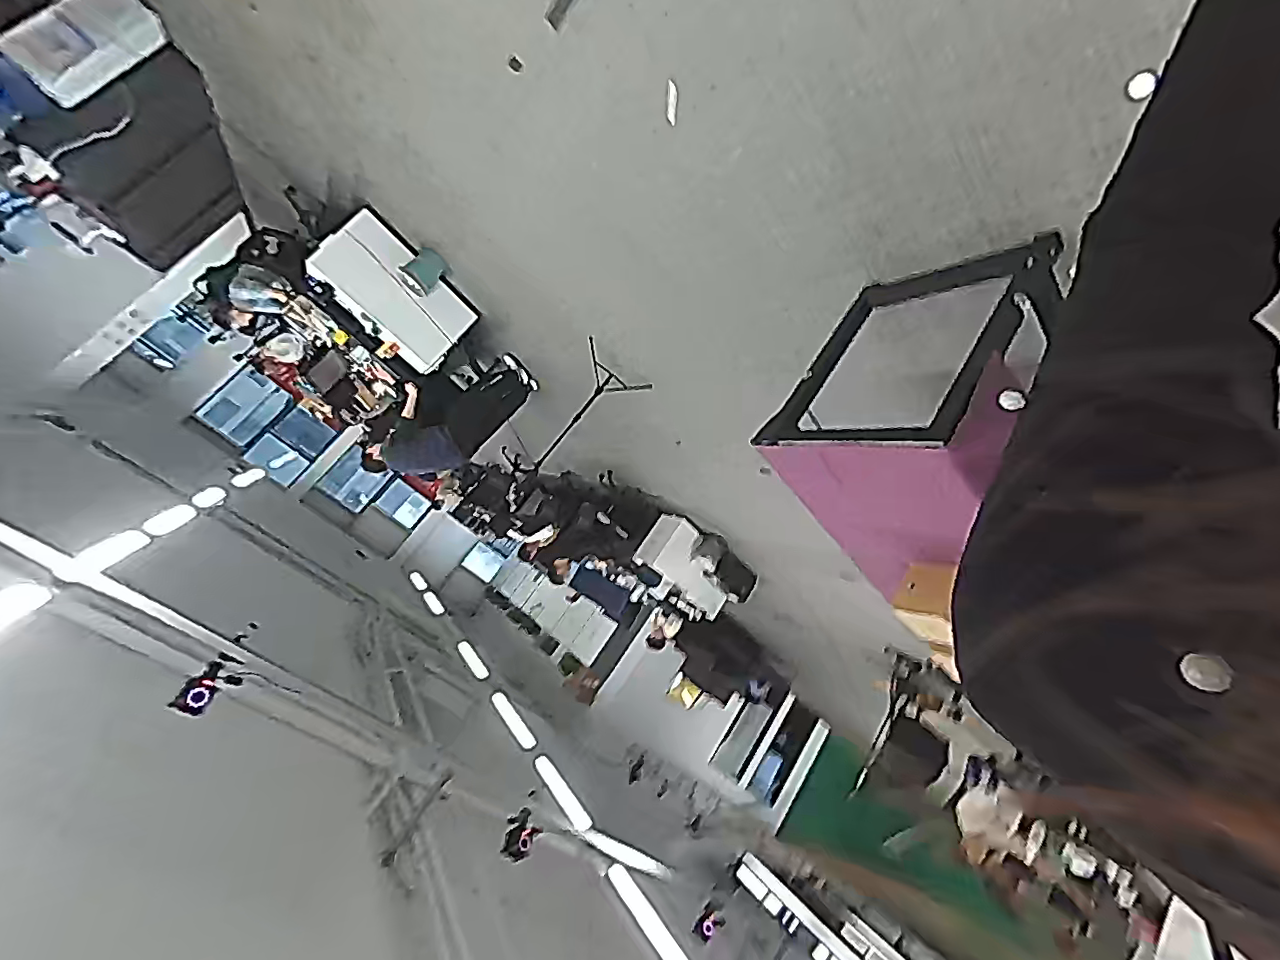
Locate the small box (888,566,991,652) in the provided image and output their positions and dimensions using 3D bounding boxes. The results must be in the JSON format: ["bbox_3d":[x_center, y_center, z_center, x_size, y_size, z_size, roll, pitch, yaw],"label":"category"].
[{"bbox_3d":[0.880,0.369,1.588,0.168,0.176,0.179,41,163,-17],"label":"small box"}]

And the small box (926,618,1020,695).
[{"bbox_3d":[1.046,0.532,1.688,0.168,0.176,0.179,43,163,-17],"label":"small box"}]
